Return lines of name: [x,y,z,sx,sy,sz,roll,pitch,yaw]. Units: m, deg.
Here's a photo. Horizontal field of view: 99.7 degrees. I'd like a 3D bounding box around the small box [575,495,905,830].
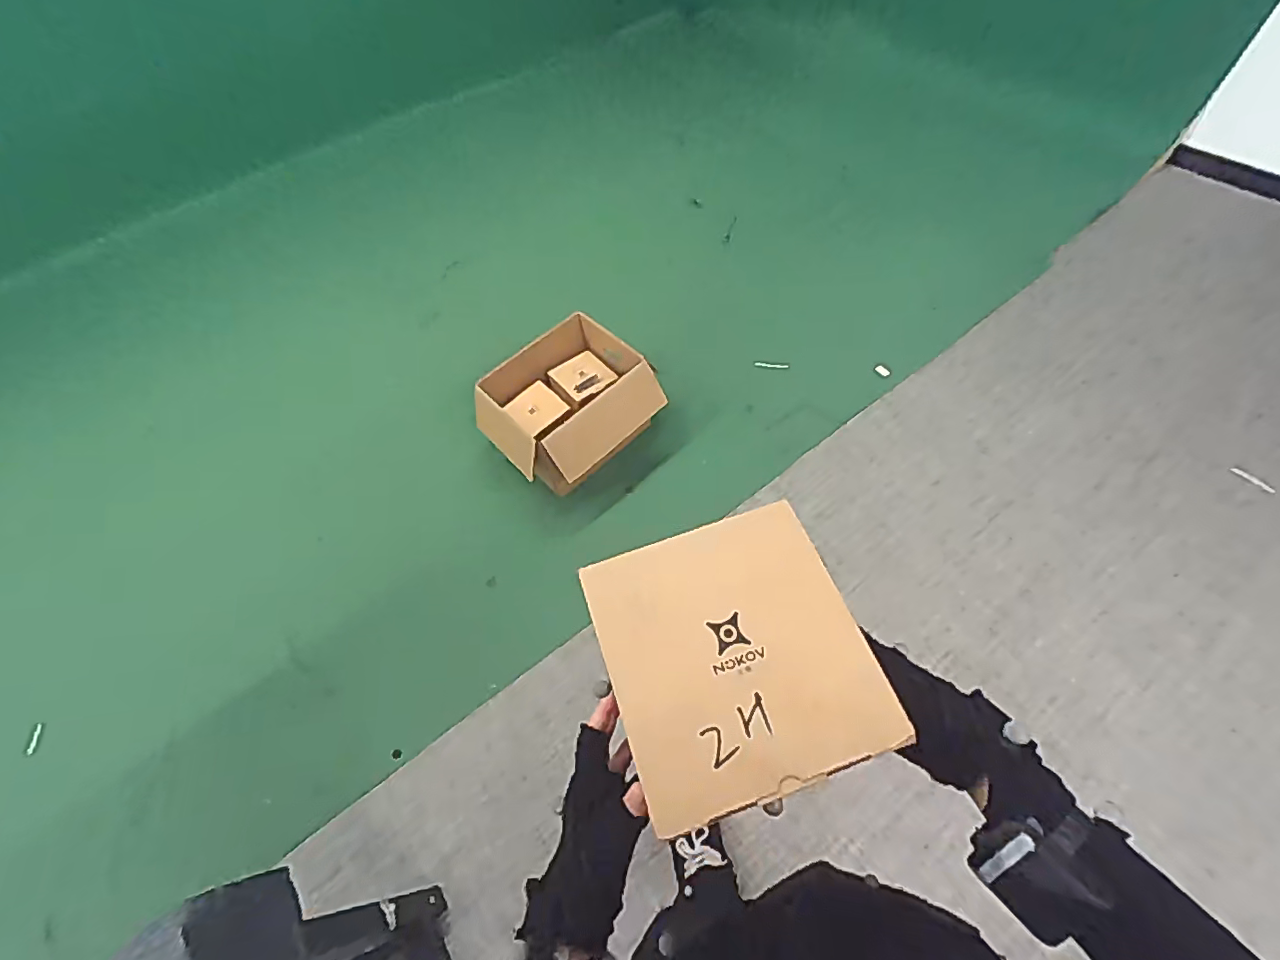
small box: [0.061,0.144,0.422,0.168,0.176,0.179,-19,62,-5]
